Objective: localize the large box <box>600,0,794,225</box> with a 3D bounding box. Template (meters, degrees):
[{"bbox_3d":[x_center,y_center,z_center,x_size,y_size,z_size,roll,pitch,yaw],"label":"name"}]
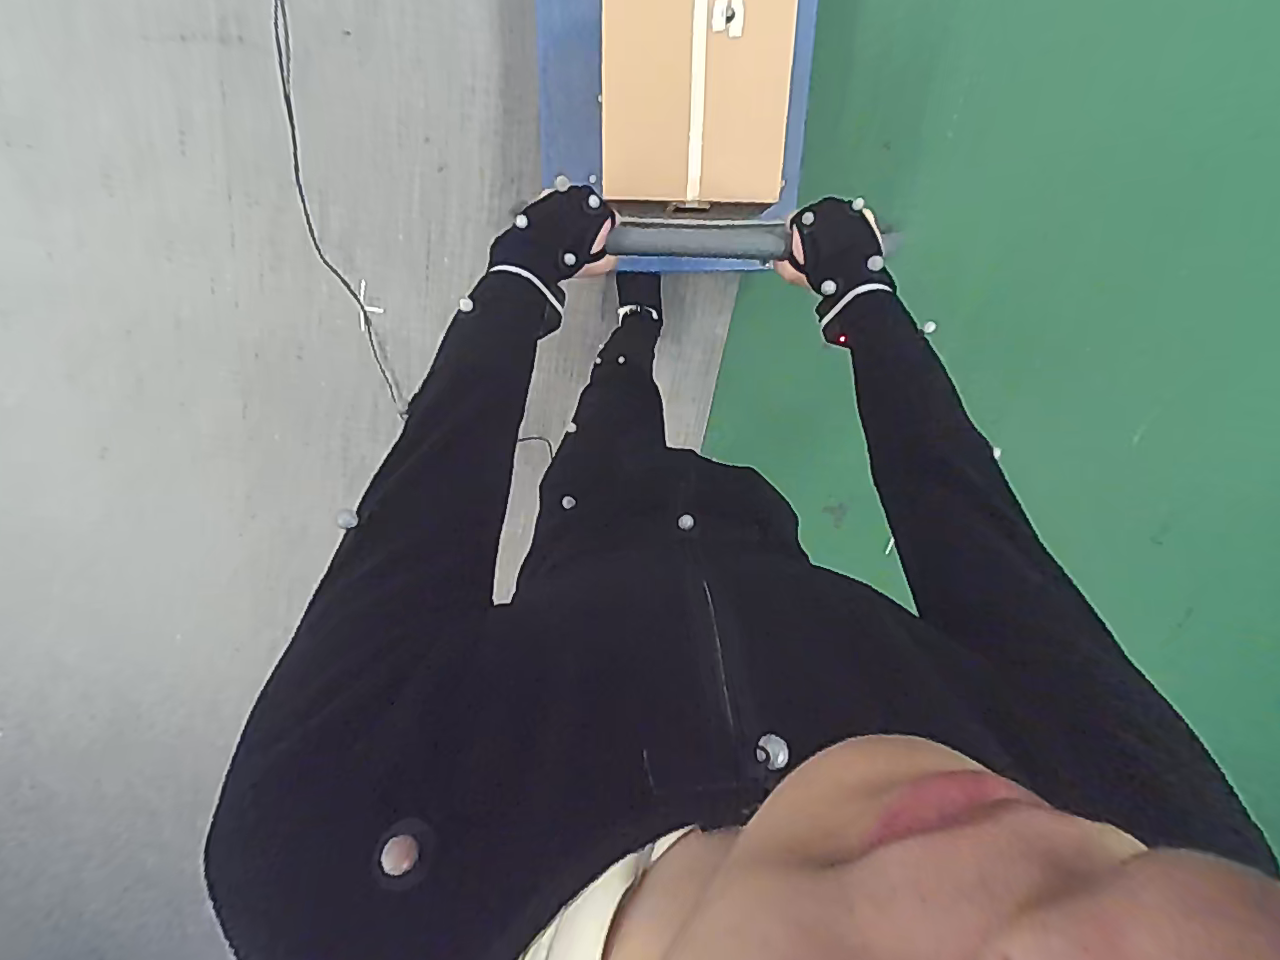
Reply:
[{"bbox_3d":[0.092,-0.727,1.032,0.320,0.320,0.408,1,107,-1],"label":"large box"}]
